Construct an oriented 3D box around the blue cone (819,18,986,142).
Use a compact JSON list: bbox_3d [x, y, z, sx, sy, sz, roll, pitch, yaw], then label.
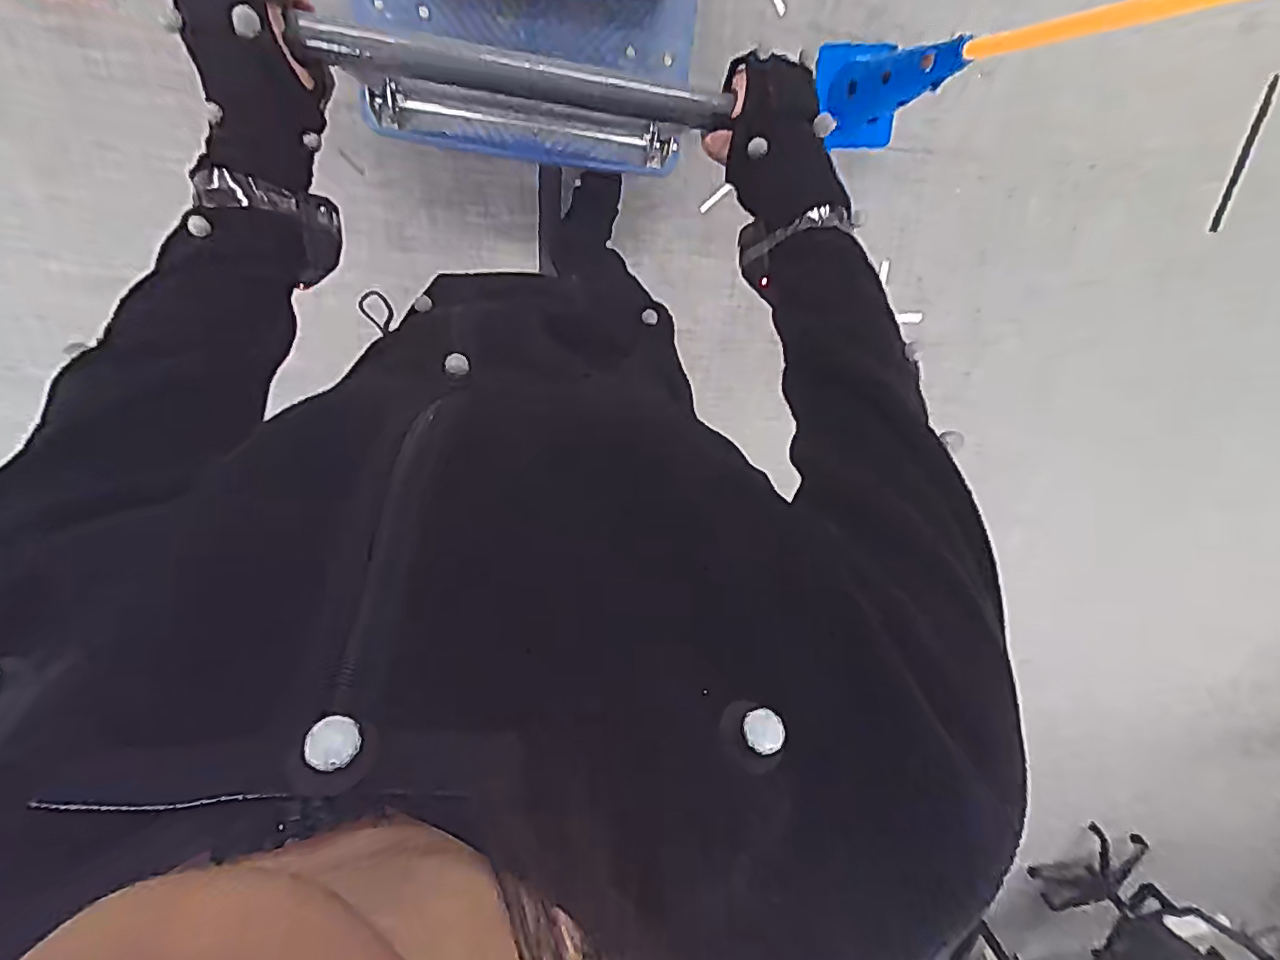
[{"bbox_3d":[0.523,-0.806,1.064,0.193,0.380,0.192,-5,114,-9],"label":"blue cone"}]
